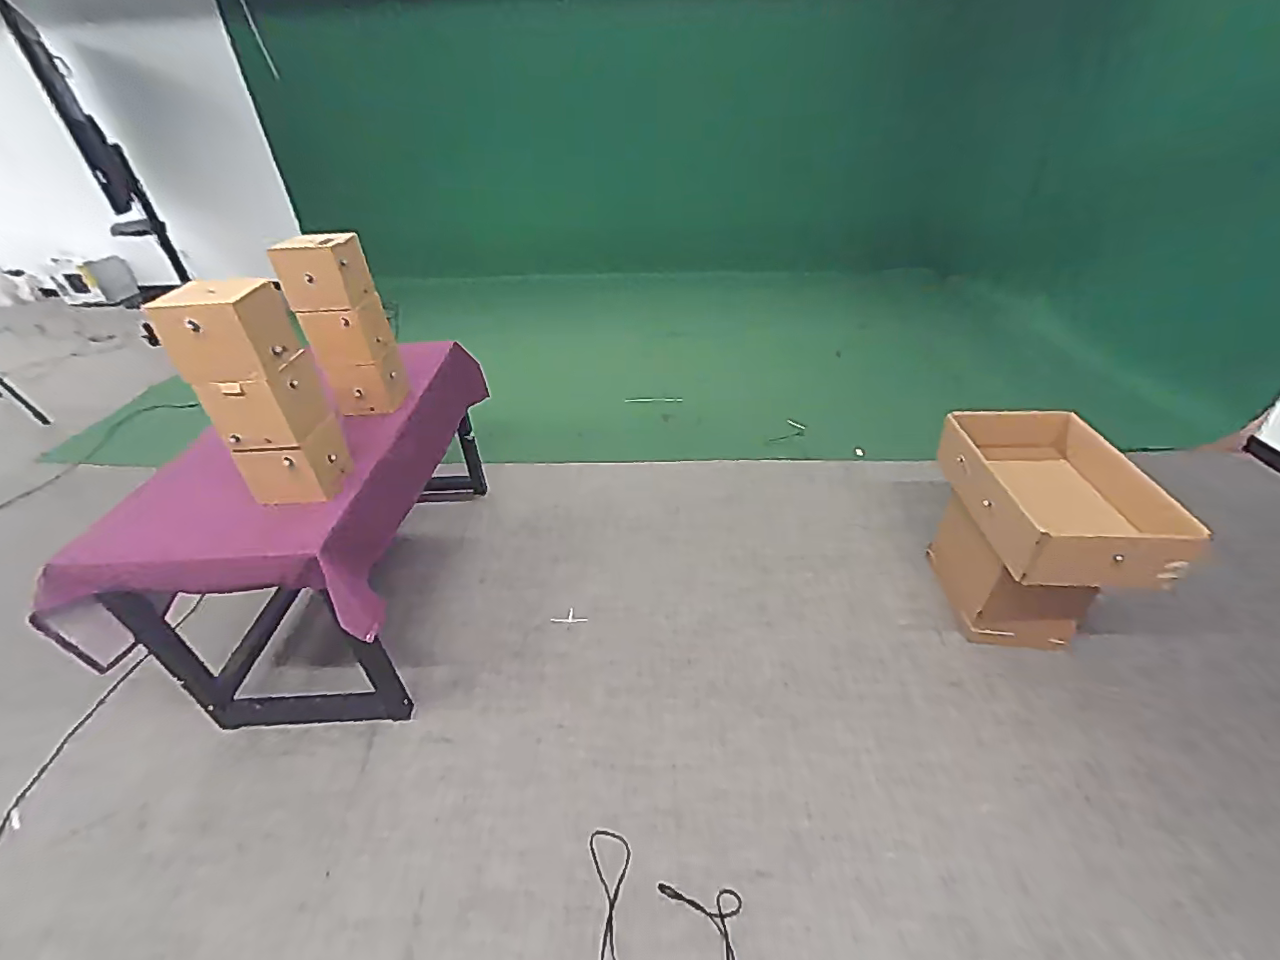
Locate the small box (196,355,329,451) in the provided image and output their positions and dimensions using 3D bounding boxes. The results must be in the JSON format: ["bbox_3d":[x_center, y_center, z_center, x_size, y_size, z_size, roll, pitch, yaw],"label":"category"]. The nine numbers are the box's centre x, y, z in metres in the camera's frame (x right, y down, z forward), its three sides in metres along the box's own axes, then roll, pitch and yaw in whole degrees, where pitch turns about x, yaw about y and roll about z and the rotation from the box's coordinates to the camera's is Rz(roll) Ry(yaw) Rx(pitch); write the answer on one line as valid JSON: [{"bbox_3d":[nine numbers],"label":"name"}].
[{"bbox_3d":[-0.865,-0.177,1.264,0.168,0.176,0.179,-3,35,0],"label":"small box"}]

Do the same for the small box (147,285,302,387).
[{"bbox_3d":[-0.881,-0.309,1.169,0.179,0.176,0.168,-3,36,-2],"label":"small box"}]

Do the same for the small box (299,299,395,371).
[{"bbox_3d":[-0.872,-0.435,1.626,0.179,0.176,0.168,-2,35,1],"label":"small box"}]

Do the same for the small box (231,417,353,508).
[{"bbox_3d":[-0.860,-0.044,1.361,0.179,0.176,0.168,-3,35,1],"label":"small box"}]

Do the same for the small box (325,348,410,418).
[{"bbox_3d":[-0.858,-0.305,1.724,0.168,0.176,0.179,-3,36,0],"label":"small box"}]
